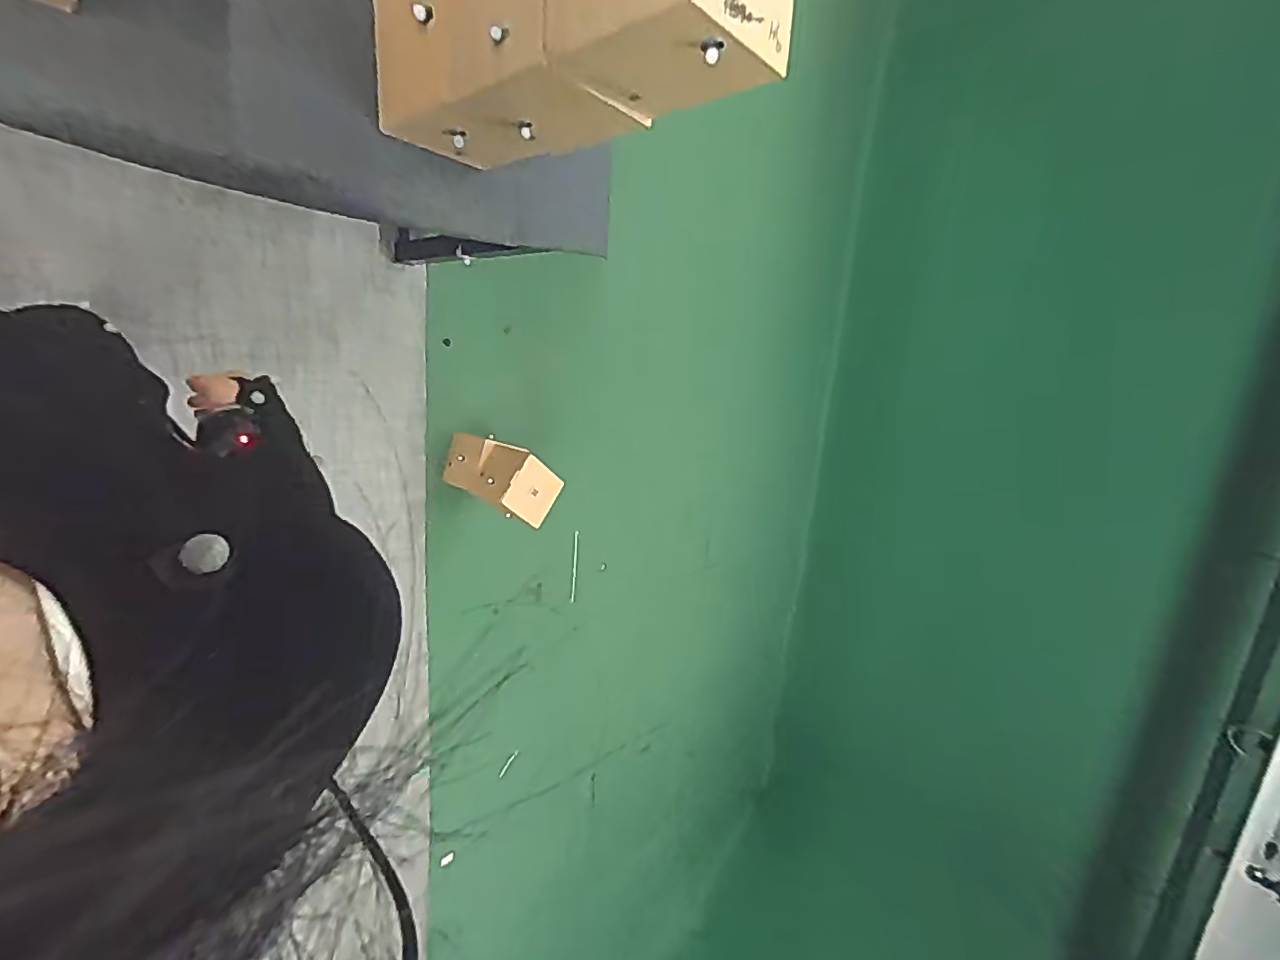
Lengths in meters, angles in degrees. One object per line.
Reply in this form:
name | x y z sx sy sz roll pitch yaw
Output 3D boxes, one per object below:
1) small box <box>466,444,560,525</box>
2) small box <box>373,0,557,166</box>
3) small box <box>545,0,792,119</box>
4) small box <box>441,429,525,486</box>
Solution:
small box | -0.380 0.008 1.611 0.168 0.176 0.179 -61 141 -15
small box | -0.224 -0.530 0.694 0.168 0.176 0.179 -11 109 -50
small box | 0.027 -0.468 0.492 0.168 0.176 0.179 -16 112 -48
small box | -0.499 -0.057 1.707 0.179 0.176 0.168 15 91 -53
